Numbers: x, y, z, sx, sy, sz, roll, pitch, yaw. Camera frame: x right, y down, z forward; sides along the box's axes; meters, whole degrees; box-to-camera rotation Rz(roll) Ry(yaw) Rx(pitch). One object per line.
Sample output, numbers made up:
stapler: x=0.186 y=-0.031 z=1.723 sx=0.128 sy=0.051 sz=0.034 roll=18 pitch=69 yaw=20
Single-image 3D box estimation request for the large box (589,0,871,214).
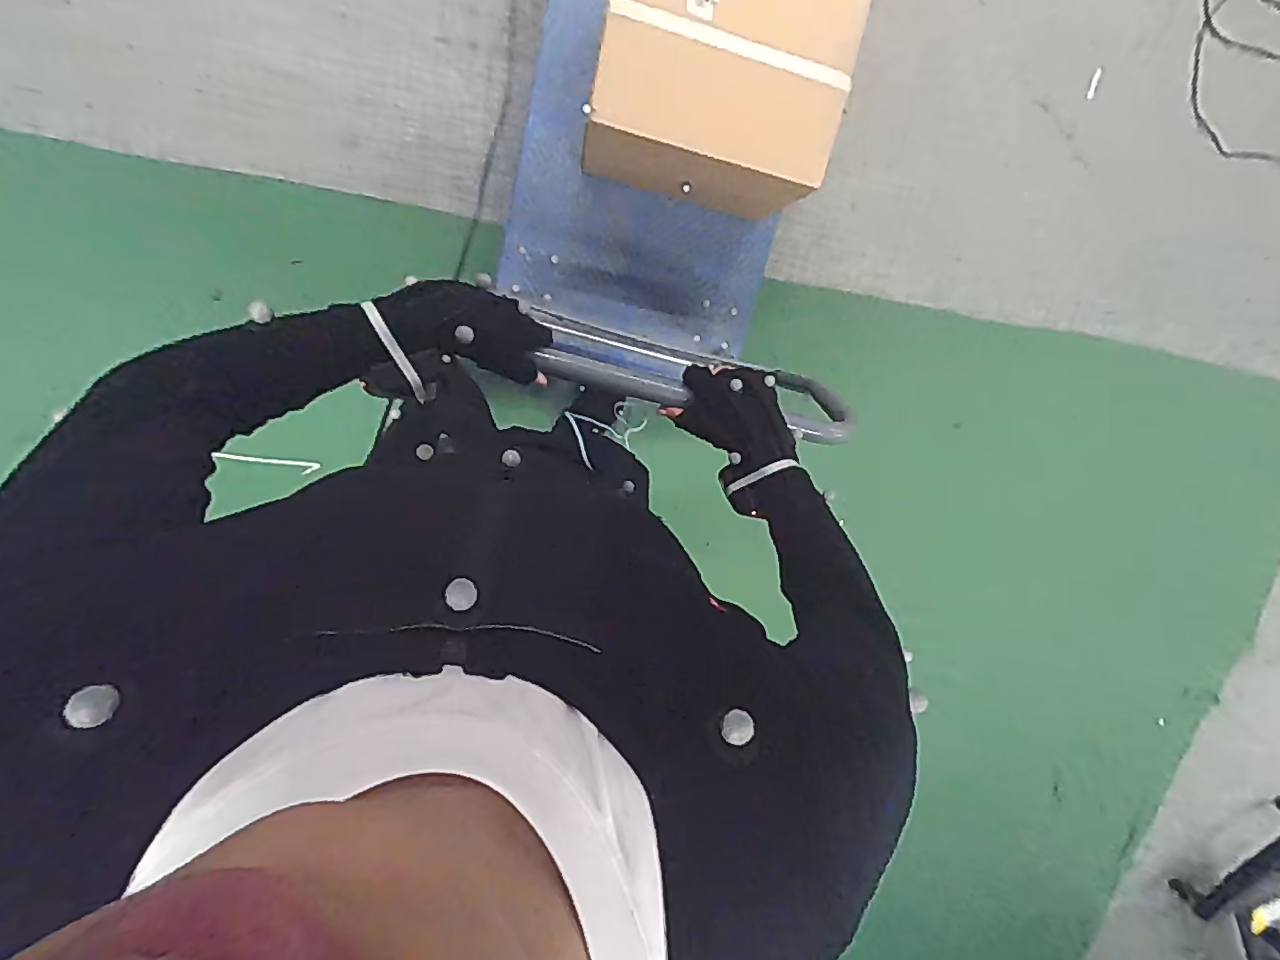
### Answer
large box: x=0.134 y=-0.722 z=0.995 sx=0.408 sy=0.320 sz=0.320 roll=10 pitch=103 yaw=-10
